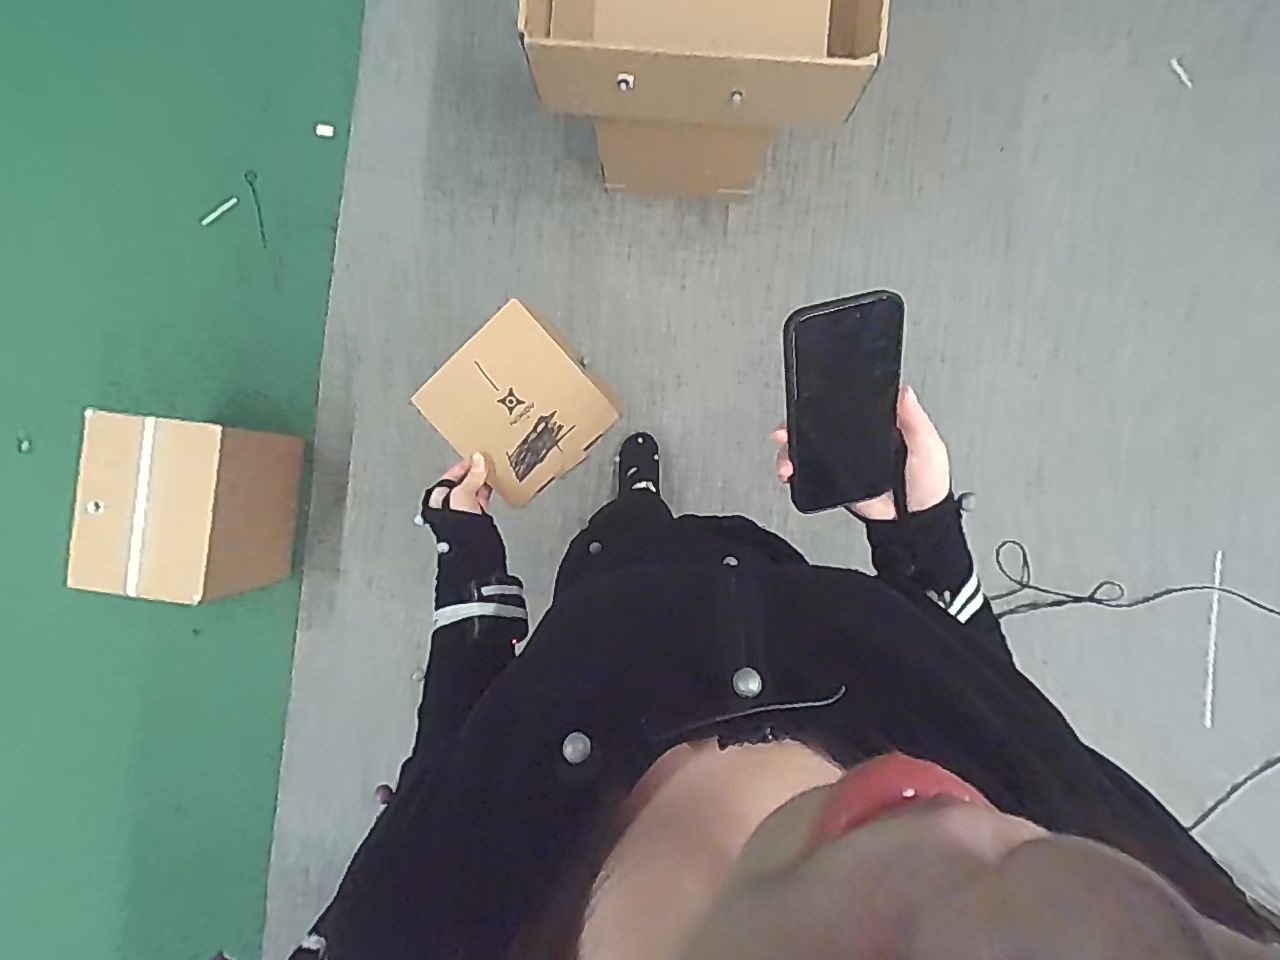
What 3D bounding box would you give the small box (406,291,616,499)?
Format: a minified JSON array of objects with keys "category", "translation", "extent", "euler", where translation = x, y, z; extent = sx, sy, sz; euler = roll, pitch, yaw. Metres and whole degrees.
[{"category":"small box","translation":[-0.144,-0.107,0.678],"extent":[0.168,0.176,0.179],"euler":[-41,99,8]}]
